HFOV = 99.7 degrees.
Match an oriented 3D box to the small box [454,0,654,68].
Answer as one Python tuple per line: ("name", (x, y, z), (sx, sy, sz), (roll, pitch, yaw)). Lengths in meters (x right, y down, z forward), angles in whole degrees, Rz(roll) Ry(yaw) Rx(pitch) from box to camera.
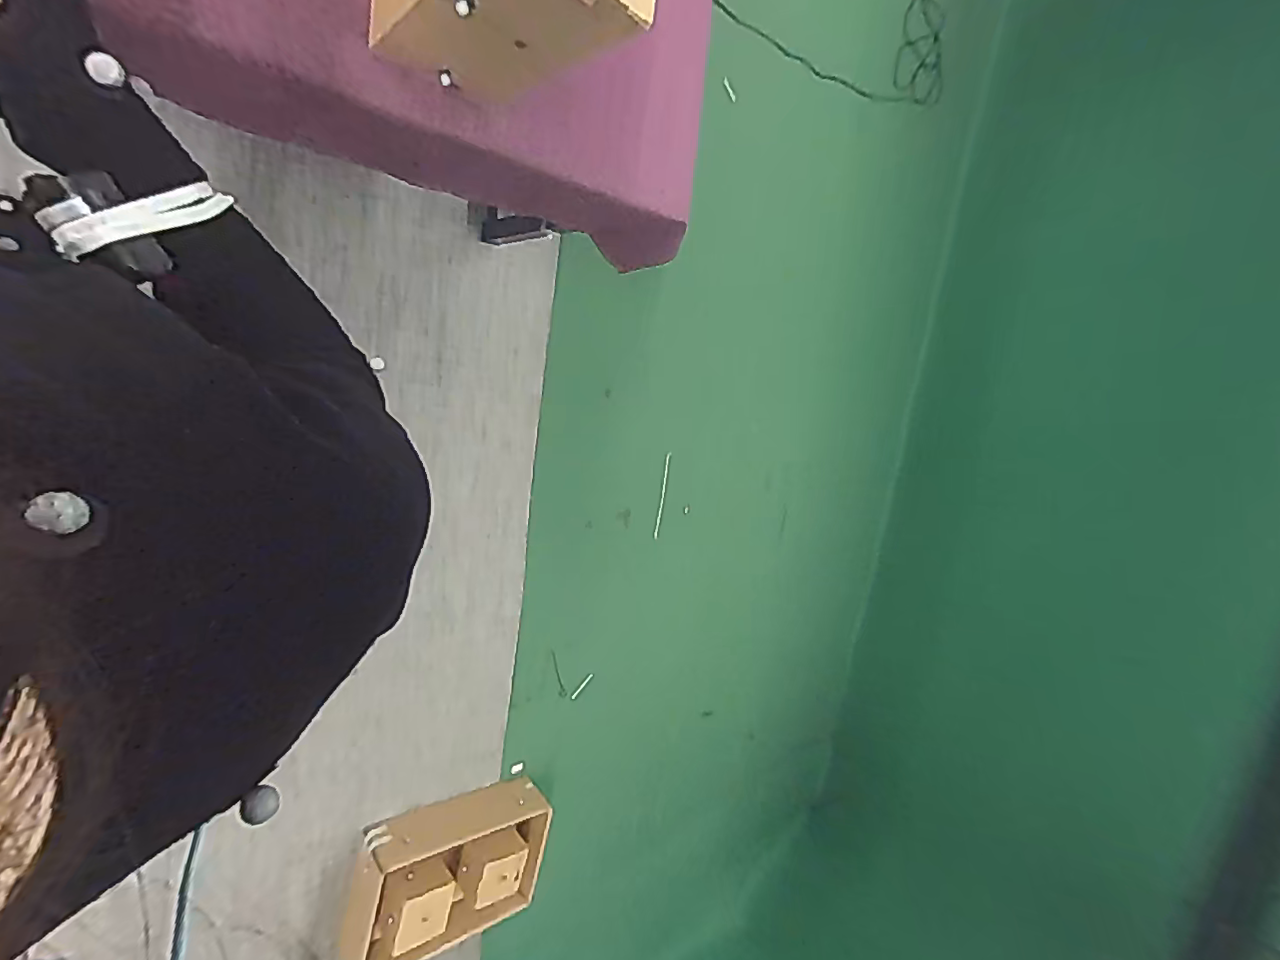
("small box", (-0.089, -0.544, 0.514), (0.168, 0.176, 0.179), (1, 101, -44))
